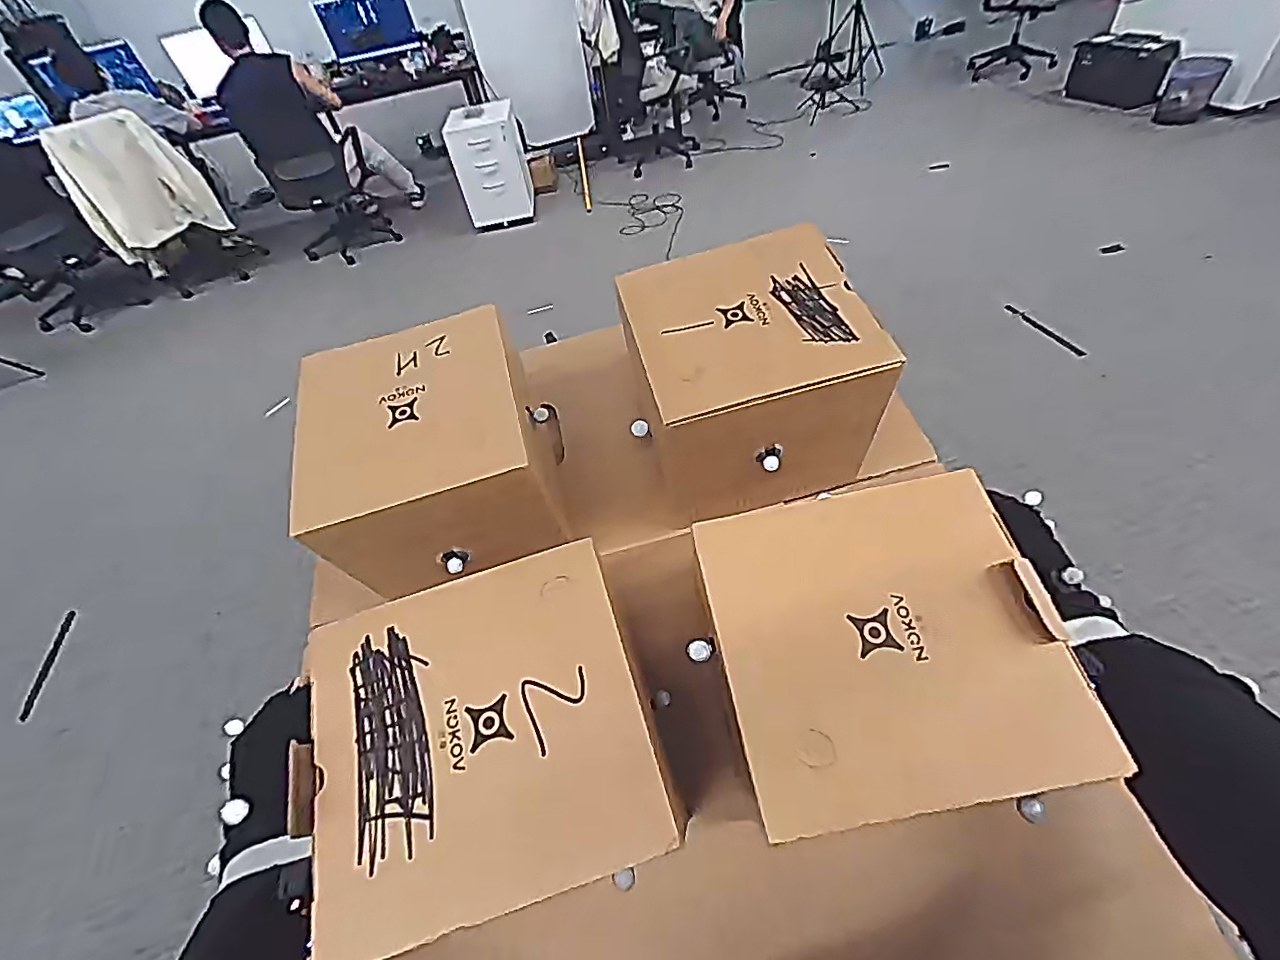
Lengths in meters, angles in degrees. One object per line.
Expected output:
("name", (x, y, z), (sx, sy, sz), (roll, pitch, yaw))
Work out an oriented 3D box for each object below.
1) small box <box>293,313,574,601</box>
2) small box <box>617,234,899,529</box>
("small box", (-0.165, -0.008, 0.475), (0.168, 0.176, 0.179), (-16, 57, -2))
("small box", (0.089, -0.078, 0.480), (0.179, 0.176, 0.168), (-15, 58, 0))
